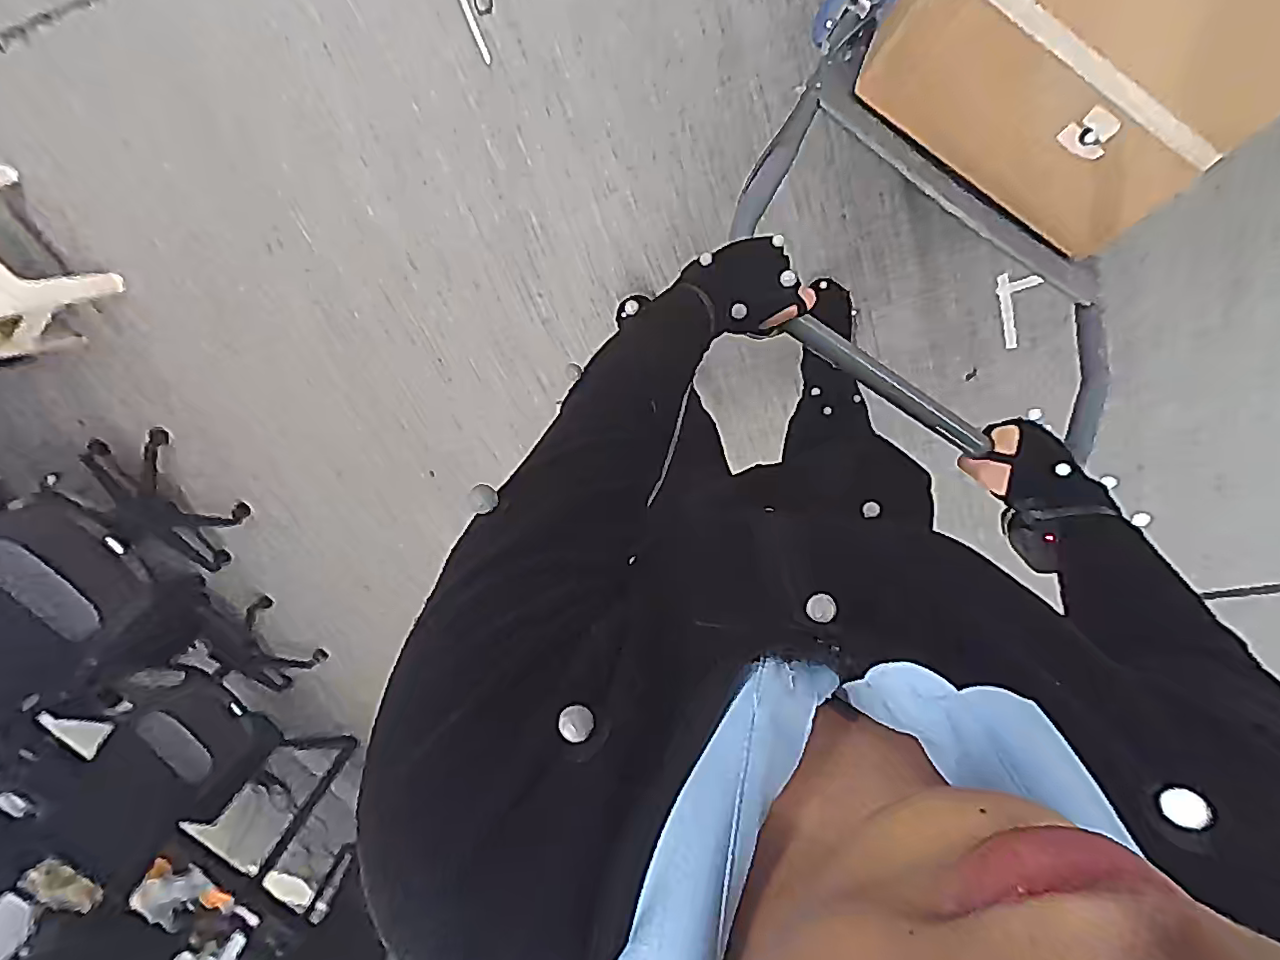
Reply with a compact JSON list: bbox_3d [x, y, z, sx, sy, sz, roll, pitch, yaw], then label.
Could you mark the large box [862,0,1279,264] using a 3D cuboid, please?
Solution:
[{"bbox_3d":[0.560,-0.574,0.692,0.408,0.320,0.320,30,145,-8],"label":"large box"}]
